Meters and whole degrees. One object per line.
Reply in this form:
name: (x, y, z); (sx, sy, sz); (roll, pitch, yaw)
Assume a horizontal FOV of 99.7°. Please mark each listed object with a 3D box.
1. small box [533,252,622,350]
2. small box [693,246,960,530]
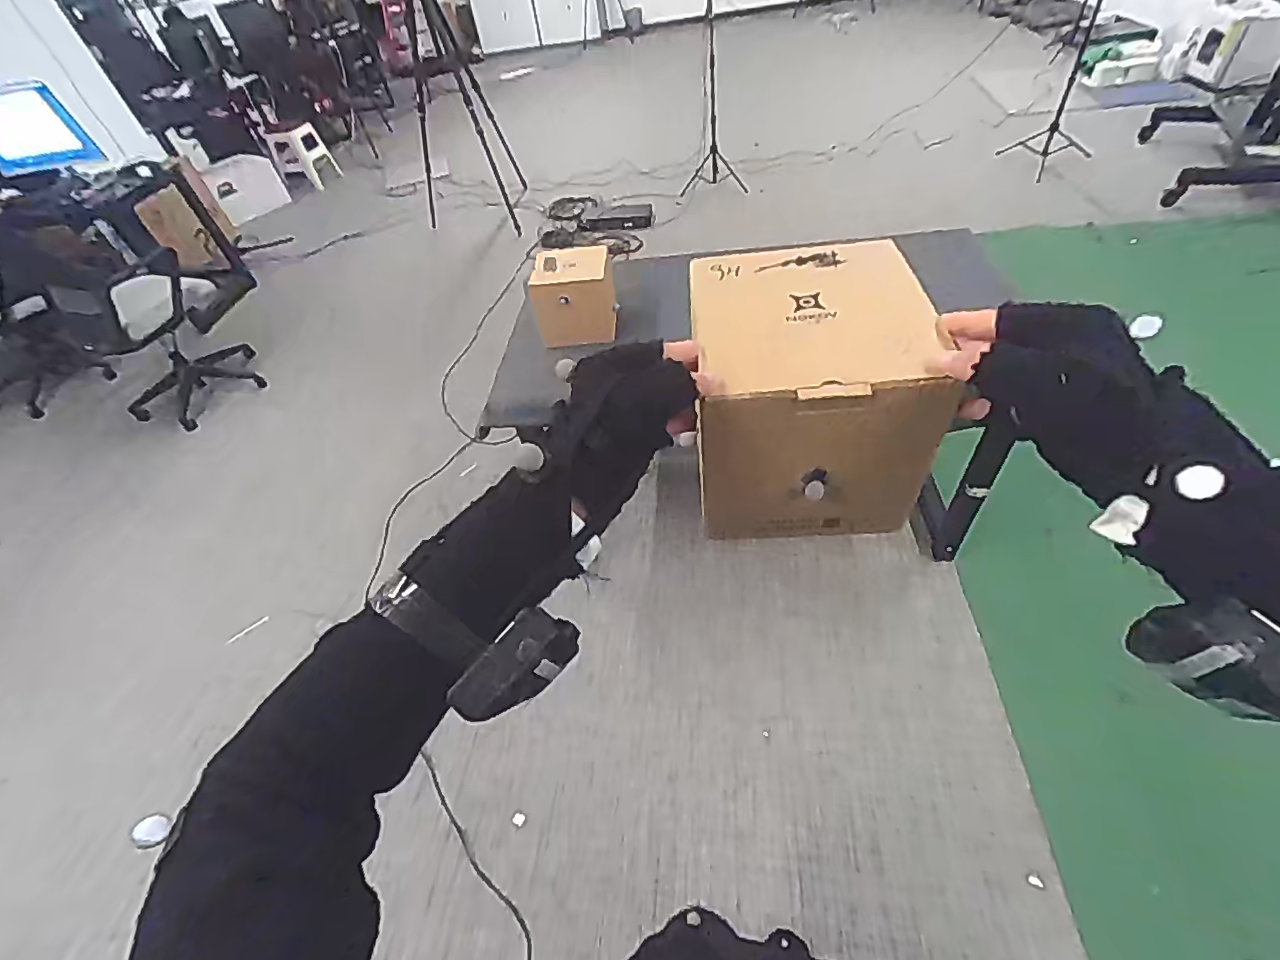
small box: (-0.145, -0.434, 1.325); (0.179, 0.176, 0.168); (-3, 47, 5)
small box: (0.133, -0.068, 0.459); (0.168, 0.176, 0.179); (-3, 51, 6)
